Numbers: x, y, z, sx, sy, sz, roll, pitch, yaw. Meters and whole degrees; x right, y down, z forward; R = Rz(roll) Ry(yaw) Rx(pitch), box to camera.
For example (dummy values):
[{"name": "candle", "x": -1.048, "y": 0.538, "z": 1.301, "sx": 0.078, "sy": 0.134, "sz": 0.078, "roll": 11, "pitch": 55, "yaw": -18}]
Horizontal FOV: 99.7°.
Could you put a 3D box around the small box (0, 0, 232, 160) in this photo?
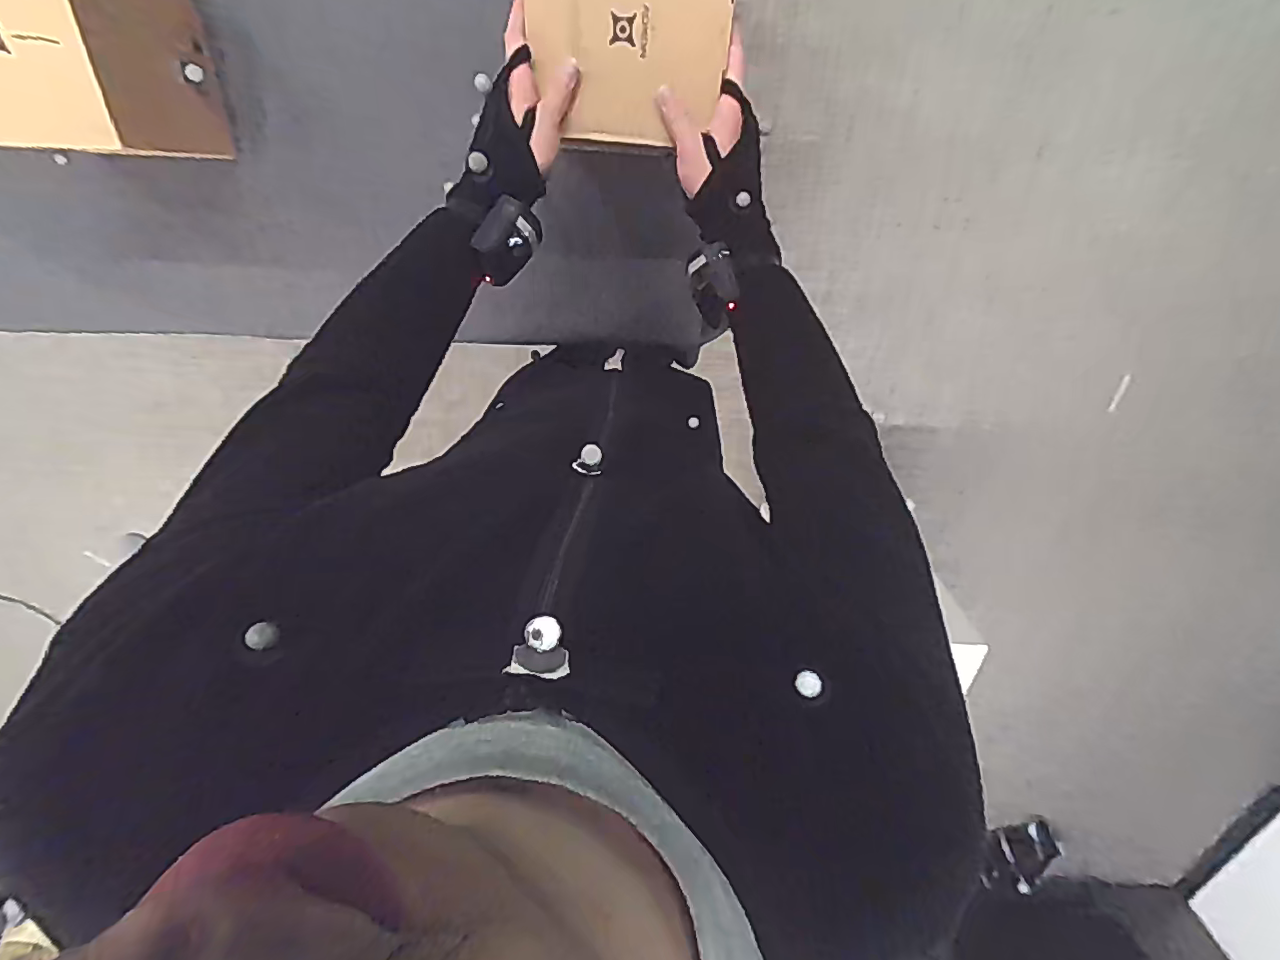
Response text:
[{"name": "small box", "x": -0.564, "y": -0.417, "z": 0.533, "sx": 0.179, "sy": 0.176, "sz": 0.168, "roll": 2, "pitch": 119, "yaw": -1}]

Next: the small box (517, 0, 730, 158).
[{"name": "small box", "x": -0.012, "y": -0.412, "z": 0.518, "sx": 0.179, "sy": 0.176, "sz": 0.168, "roll": 4, "pitch": 118, "yaw": 1}]
